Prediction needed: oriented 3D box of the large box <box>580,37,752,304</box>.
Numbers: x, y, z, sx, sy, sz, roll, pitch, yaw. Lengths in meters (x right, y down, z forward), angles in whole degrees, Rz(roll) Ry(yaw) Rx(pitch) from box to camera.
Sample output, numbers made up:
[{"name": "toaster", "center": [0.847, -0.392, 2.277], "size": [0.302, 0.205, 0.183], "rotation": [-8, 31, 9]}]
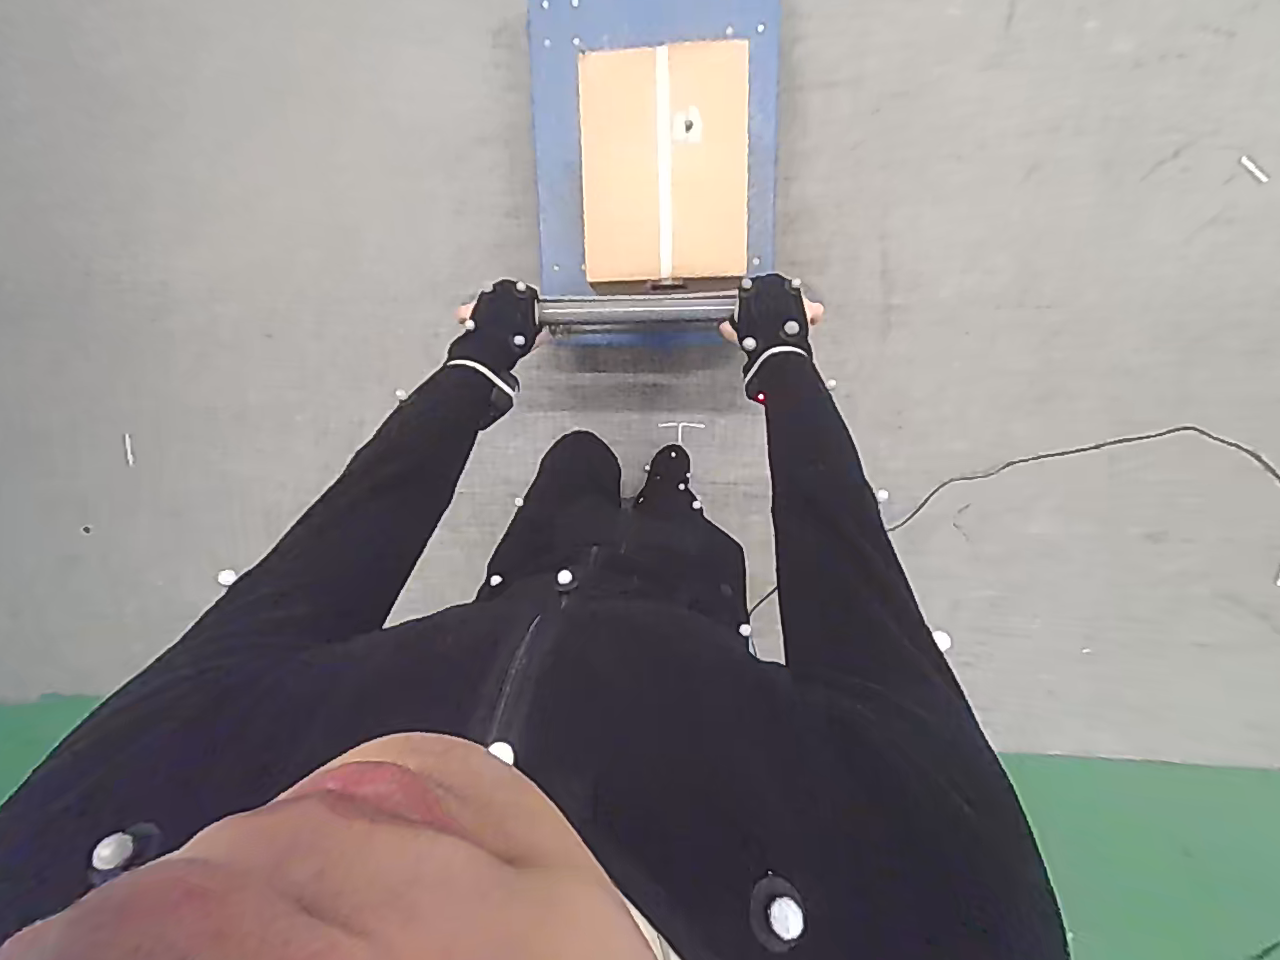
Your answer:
[{"name": "large box", "center": [0.063, -0.610, 1.147], "size": [0.320, 0.320, 0.408], "rotation": [-1, 99, 4]}]
